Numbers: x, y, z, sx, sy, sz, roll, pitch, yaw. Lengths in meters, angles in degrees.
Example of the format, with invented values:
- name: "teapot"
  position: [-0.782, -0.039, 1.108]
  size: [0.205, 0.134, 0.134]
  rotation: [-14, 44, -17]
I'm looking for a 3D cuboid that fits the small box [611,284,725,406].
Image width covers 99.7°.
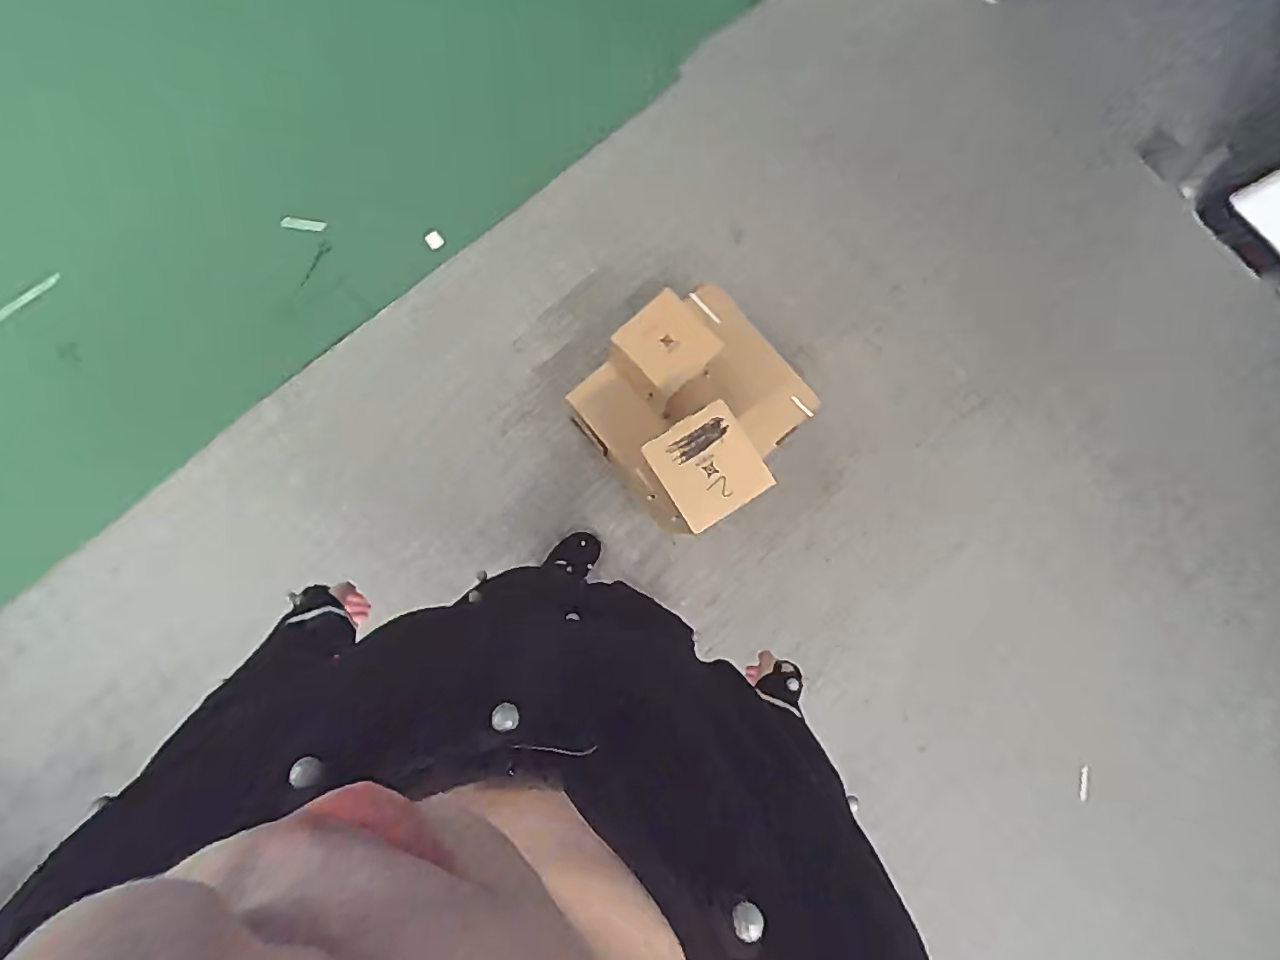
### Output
- name: "small box"
  position: [0.054, -0.278, 1.170]
  size: [0.168, 0.176, 0.179]
  rotation: [-41, 87, -8]

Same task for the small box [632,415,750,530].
- name: "small box"
  position: [0.097, -0.011, 1.144]
  size: [0.179, 0.176, 0.168]
  rotation: [-36, 88, -6]
